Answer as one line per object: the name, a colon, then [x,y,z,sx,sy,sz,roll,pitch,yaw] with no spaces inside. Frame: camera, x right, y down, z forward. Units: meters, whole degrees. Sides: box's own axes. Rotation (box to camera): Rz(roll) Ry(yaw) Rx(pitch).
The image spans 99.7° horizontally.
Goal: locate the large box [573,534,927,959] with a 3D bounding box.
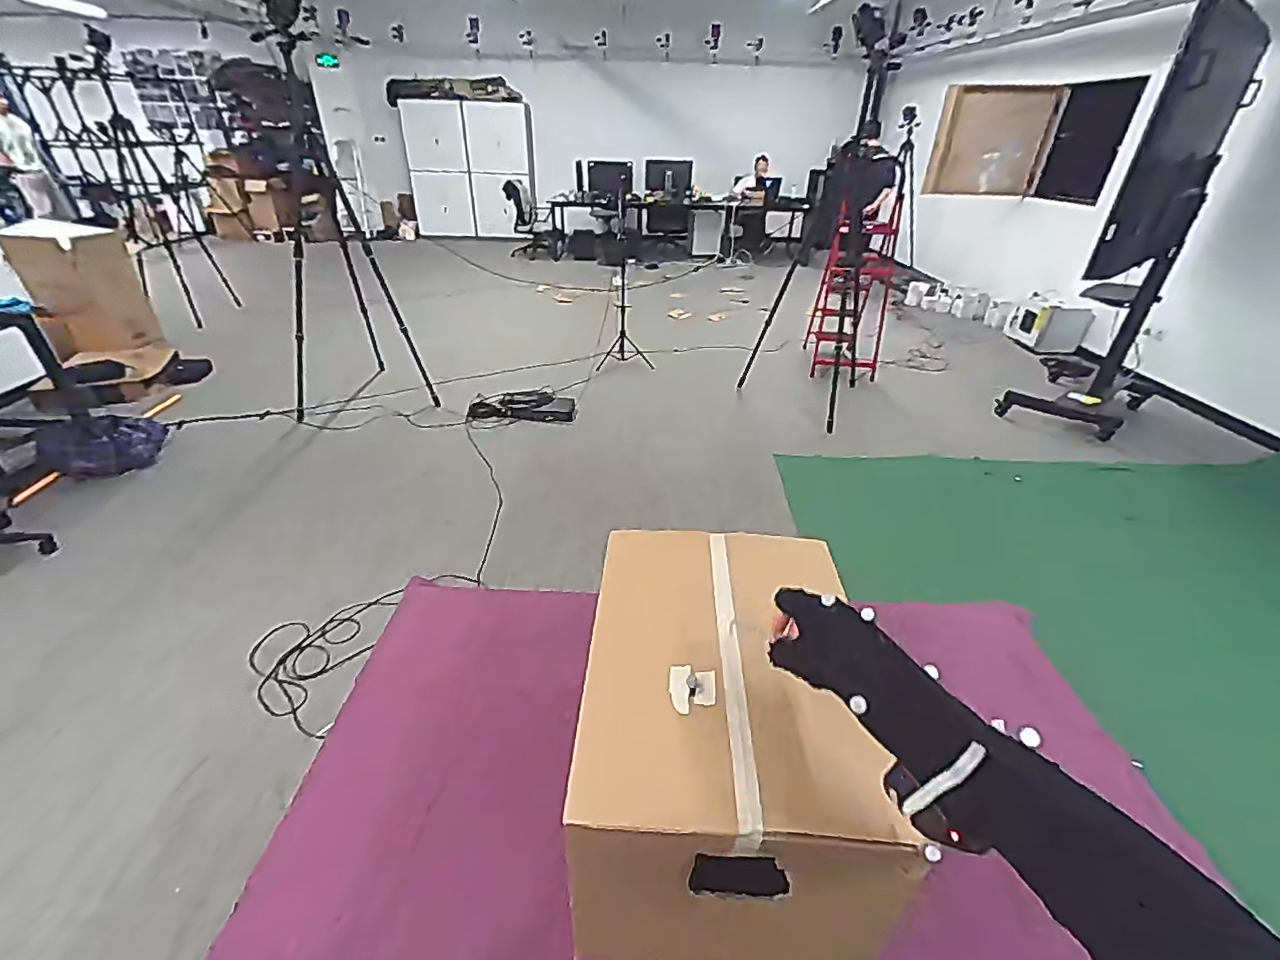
large box: [0.094,0.321,0.707,0.320,0.320,0.408,3,33,2]
